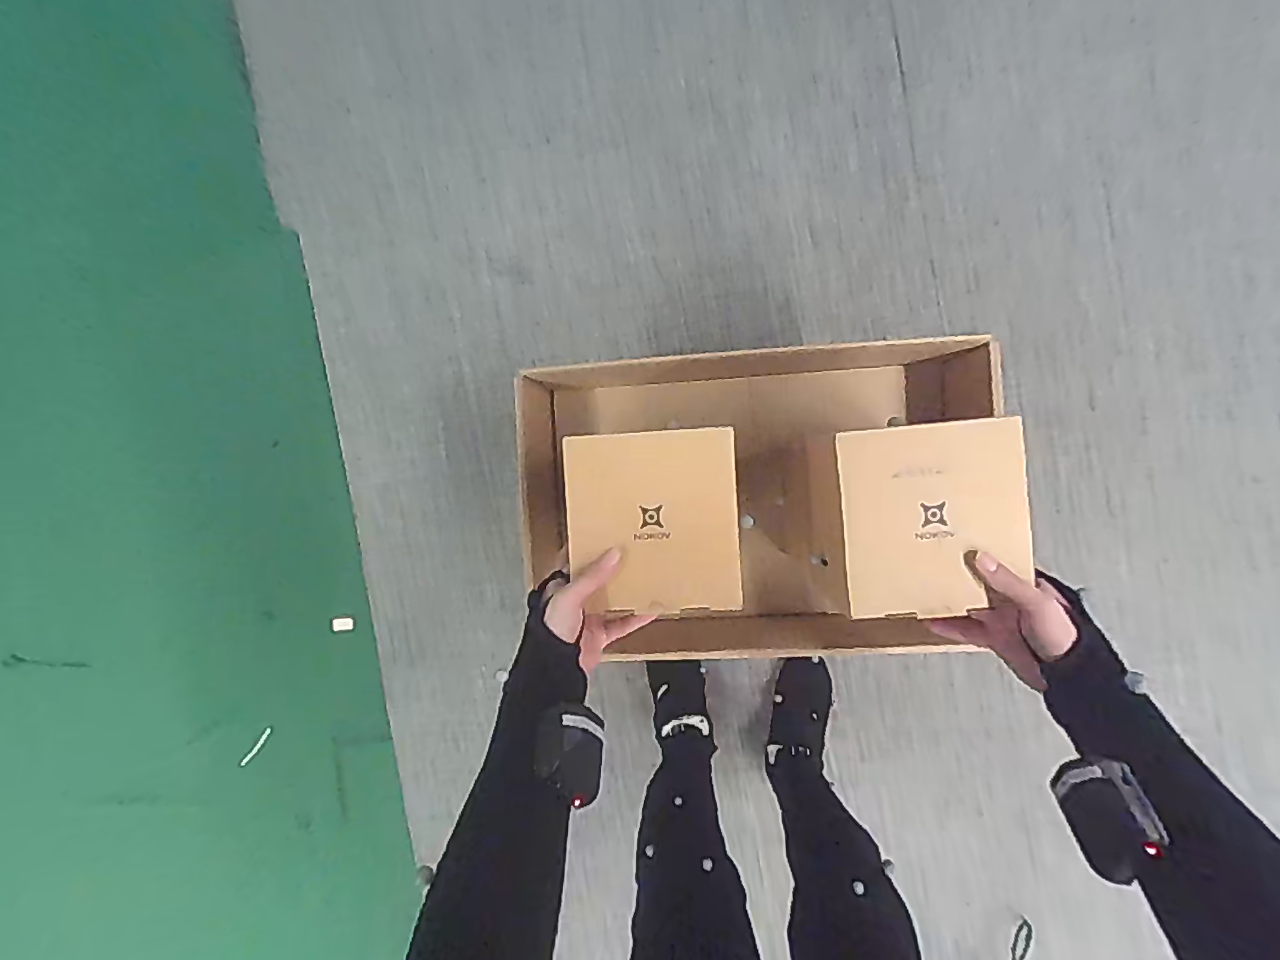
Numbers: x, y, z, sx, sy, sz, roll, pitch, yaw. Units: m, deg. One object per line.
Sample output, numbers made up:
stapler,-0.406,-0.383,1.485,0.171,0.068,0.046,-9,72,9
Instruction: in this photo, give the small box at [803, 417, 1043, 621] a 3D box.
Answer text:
small box,0.272,0.034,0.557,0.168,0.176,0.179,-4,90,5

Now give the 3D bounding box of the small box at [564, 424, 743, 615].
small box,0.017,0.037,0.585,0.168,0.176,0.179,-3,91,5
